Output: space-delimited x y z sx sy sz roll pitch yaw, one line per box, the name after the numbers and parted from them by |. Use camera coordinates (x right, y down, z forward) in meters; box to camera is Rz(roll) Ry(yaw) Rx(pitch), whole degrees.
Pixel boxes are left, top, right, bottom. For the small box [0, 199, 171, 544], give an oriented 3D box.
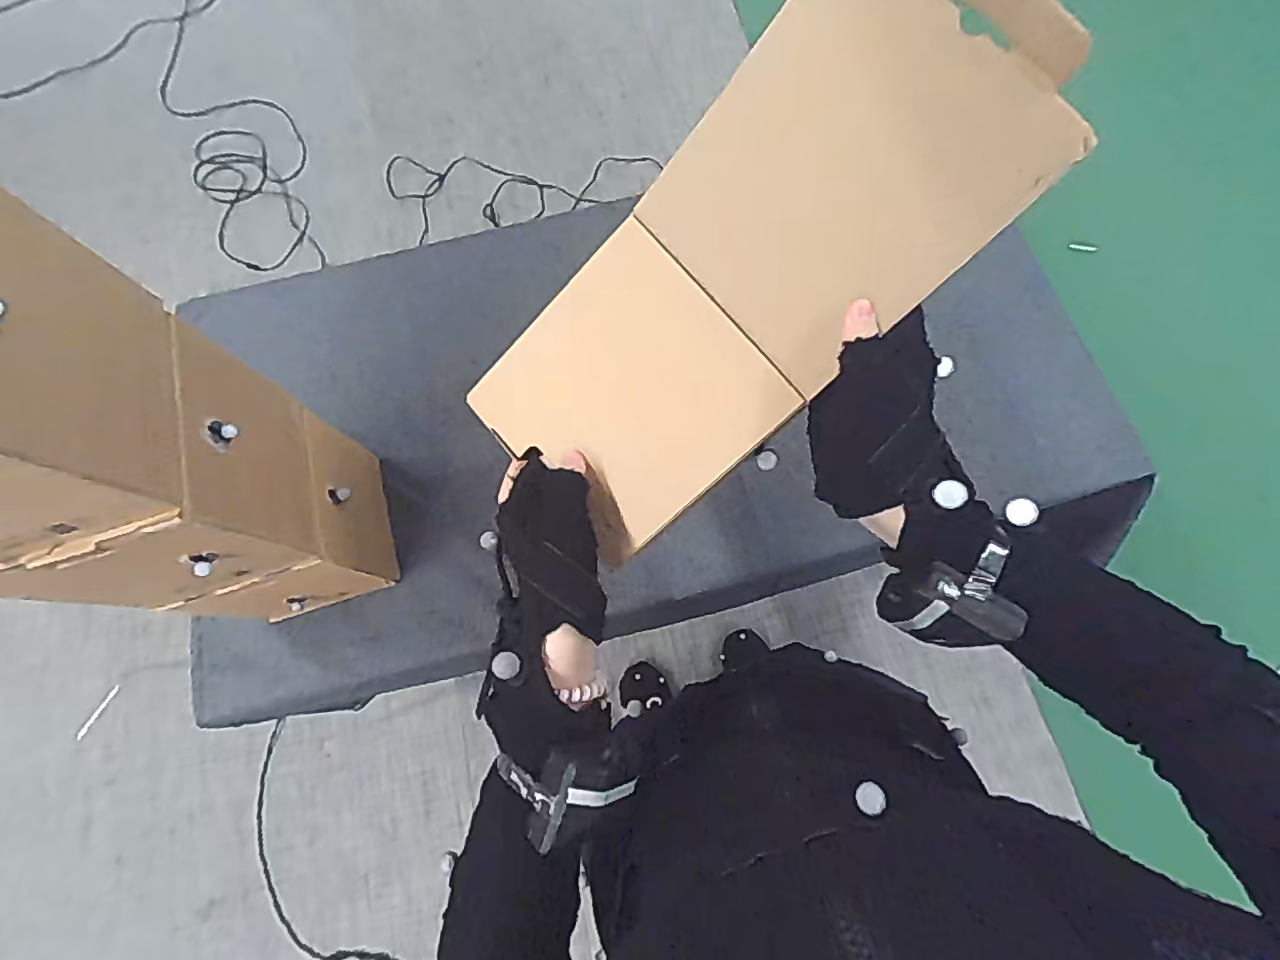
-0.416 -0.063 0.307 0.168 0.176 0.179 -18 73 -5 | small box

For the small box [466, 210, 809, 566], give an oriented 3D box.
0.009 -0.063 0.430 0.179 0.176 0.168 -42 83 15 | small box

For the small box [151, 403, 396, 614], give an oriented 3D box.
-0.404 0.042 0.616 0.168 0.176 0.179 -17 73 -3 | small box

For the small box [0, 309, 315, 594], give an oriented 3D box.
-0.409 -0.008 0.462 0.168 0.176 0.179 -16 73 -4 | small box
